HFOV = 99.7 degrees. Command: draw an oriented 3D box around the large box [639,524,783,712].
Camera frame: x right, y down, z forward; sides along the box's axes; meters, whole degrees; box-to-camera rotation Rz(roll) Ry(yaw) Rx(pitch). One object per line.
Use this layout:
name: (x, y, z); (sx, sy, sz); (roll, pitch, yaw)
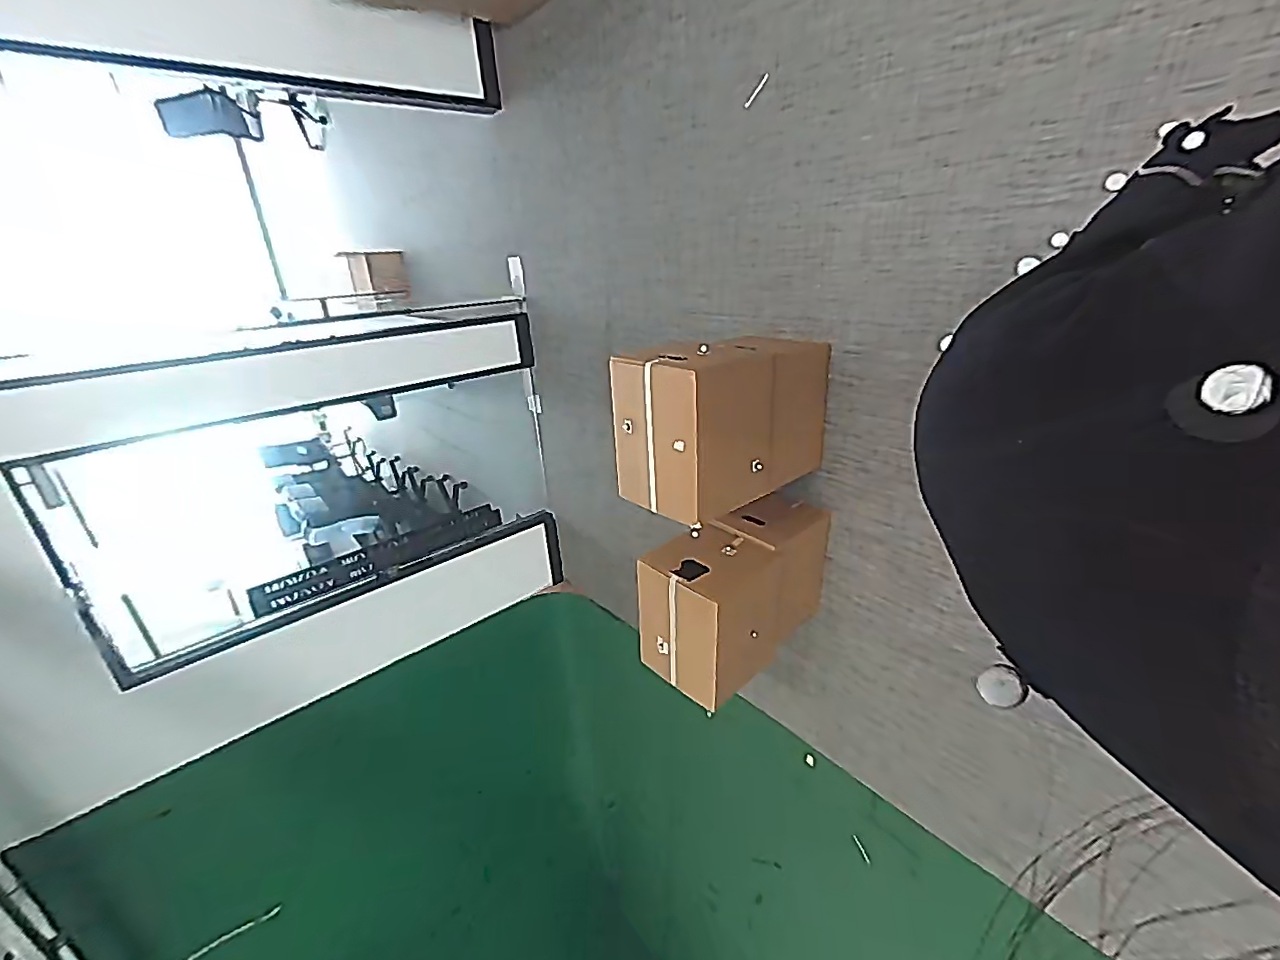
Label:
large box: (0.221, 0.404, 1.673); (0.320, 0.320, 0.408); (23, 126, 42)
